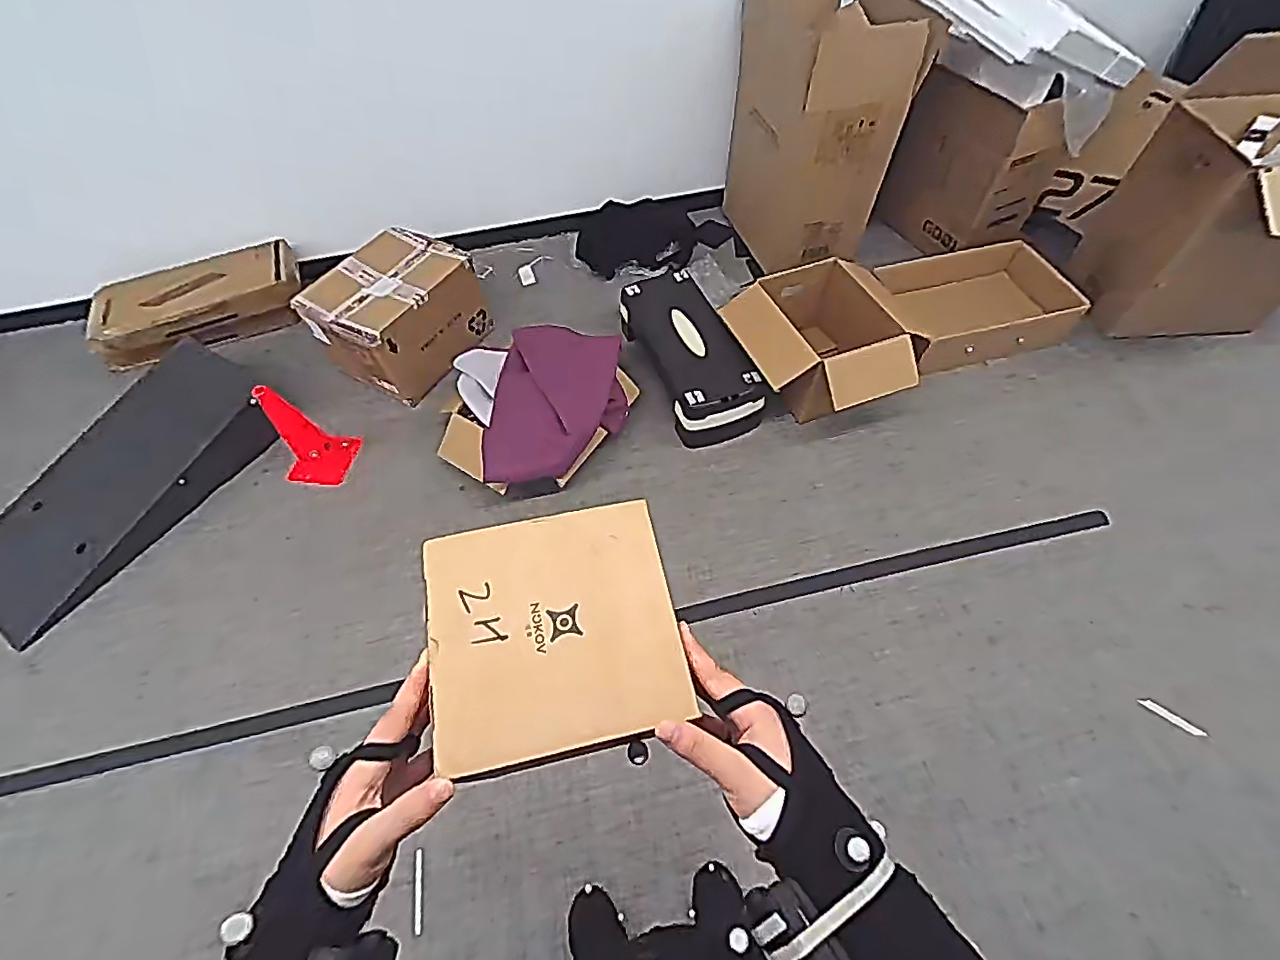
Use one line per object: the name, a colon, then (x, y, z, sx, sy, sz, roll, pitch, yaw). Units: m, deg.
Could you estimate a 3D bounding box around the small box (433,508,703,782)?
small box: (-0.060, 0.142, 0.459, 0.179, 0.176, 0.168, -10, 63, -7)
